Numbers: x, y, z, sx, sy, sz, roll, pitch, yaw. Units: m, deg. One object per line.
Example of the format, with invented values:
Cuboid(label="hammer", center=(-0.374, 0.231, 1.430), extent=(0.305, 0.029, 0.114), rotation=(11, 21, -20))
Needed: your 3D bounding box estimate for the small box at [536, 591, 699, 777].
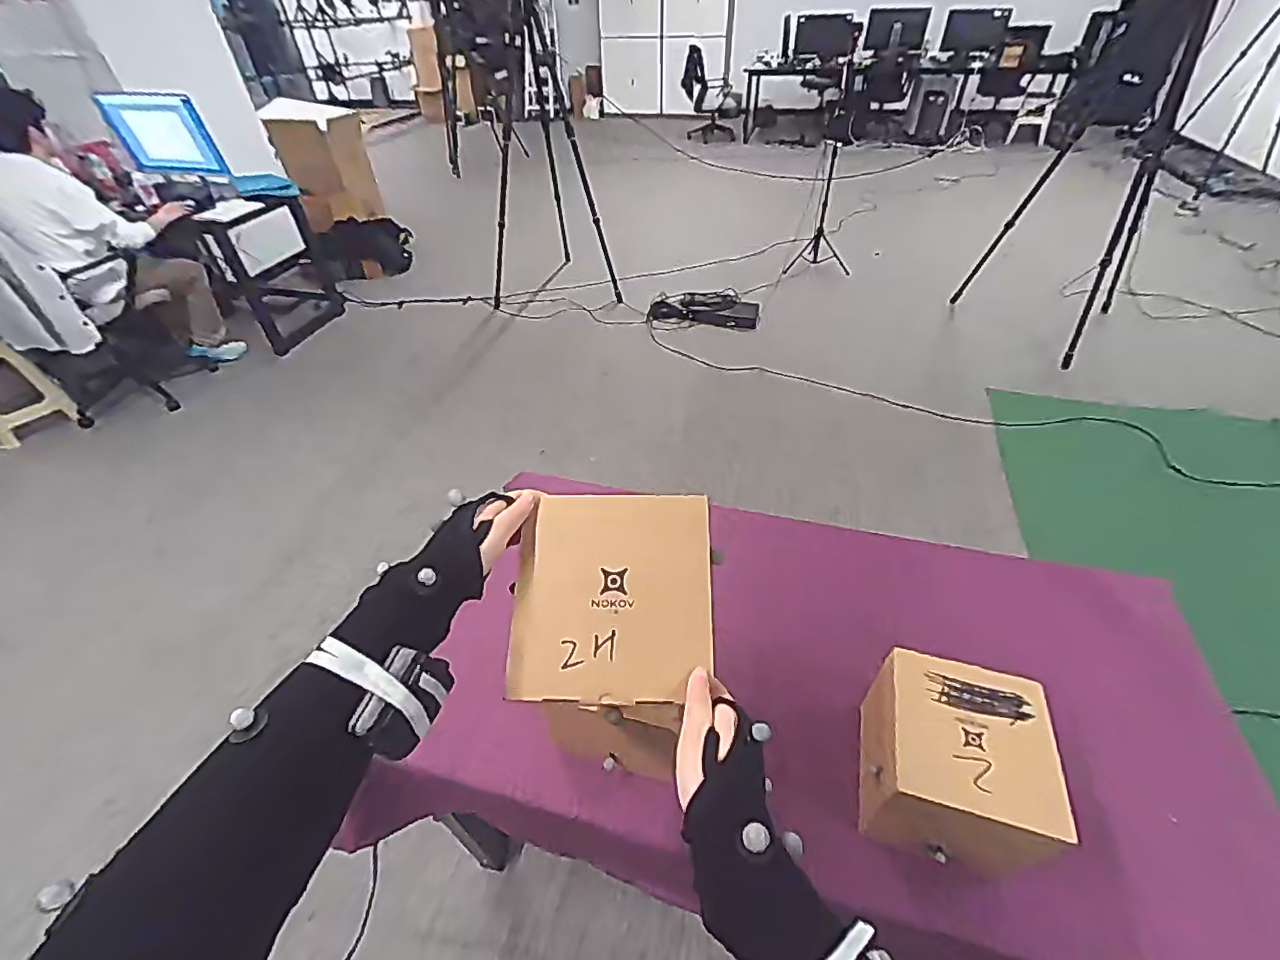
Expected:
Cuboid(label="small box", center=(-0.022, 0.281, 0.742), extent=(0.179, 0.176, 0.168), rotation=(9, 43, 11))
